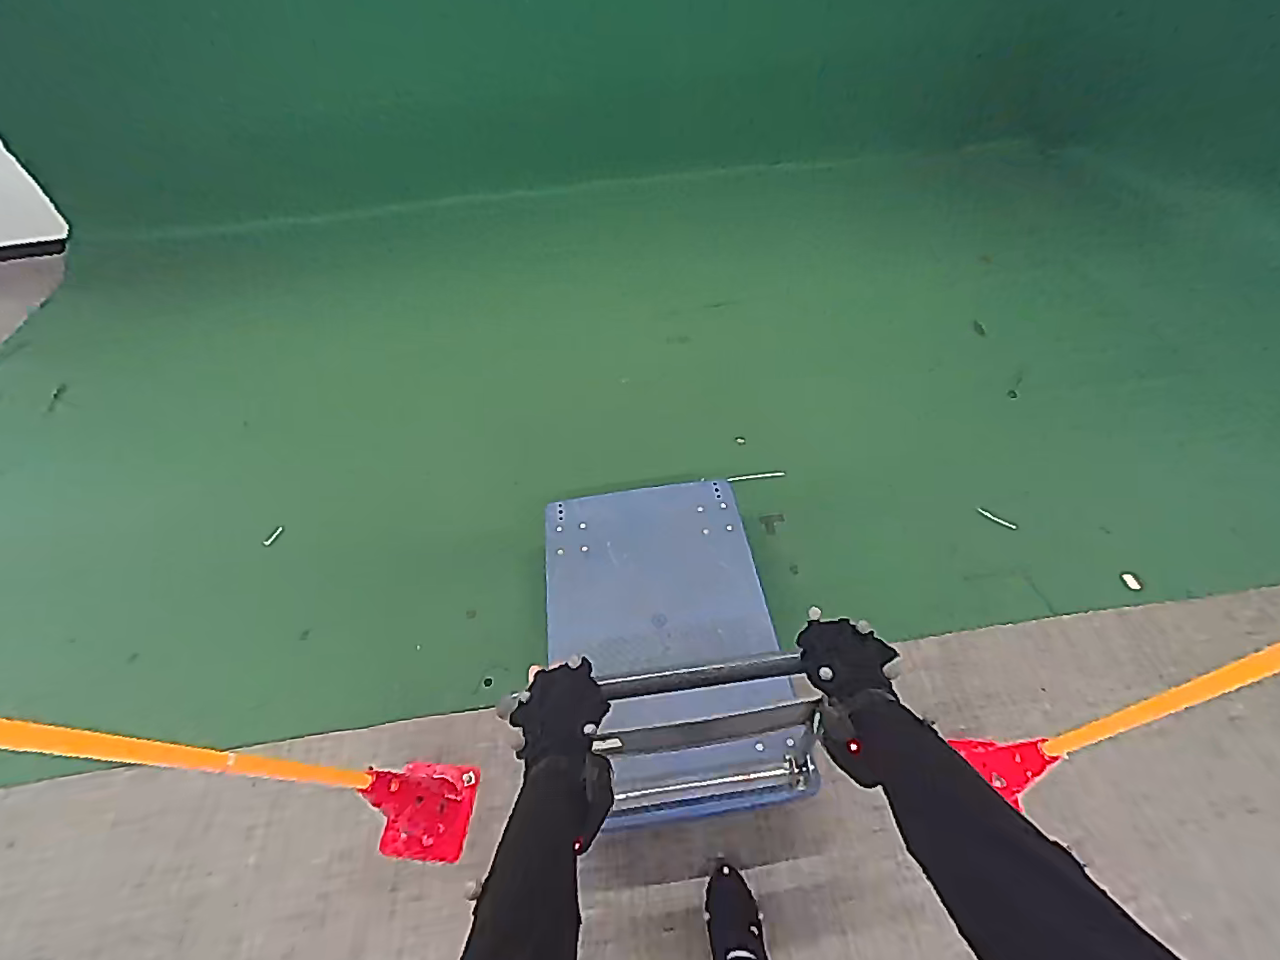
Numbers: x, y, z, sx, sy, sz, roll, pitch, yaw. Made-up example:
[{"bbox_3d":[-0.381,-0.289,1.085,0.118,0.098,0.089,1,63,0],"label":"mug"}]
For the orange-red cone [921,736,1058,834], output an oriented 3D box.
[{"bbox_3d":[0.771,0.610,1.141,0.198,0.360,0.199,0,52,5],"label":"orange-red cone"}]
